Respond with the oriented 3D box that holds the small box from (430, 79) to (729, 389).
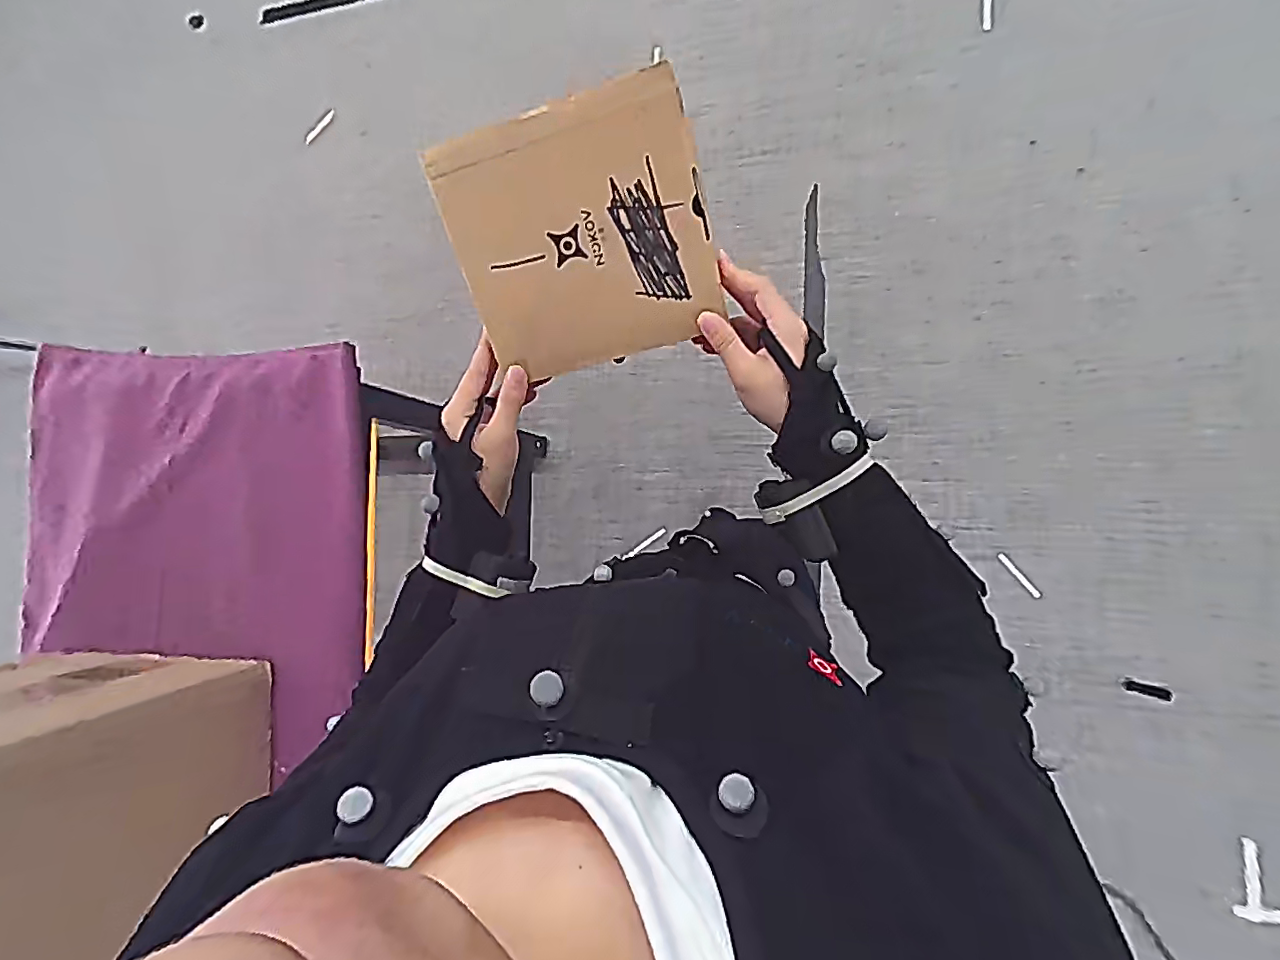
[{"bbox_3d":[-0.034,-0.193,0.451,0.179,0.176,0.168,-13,111,10],"label":"small box"}]
